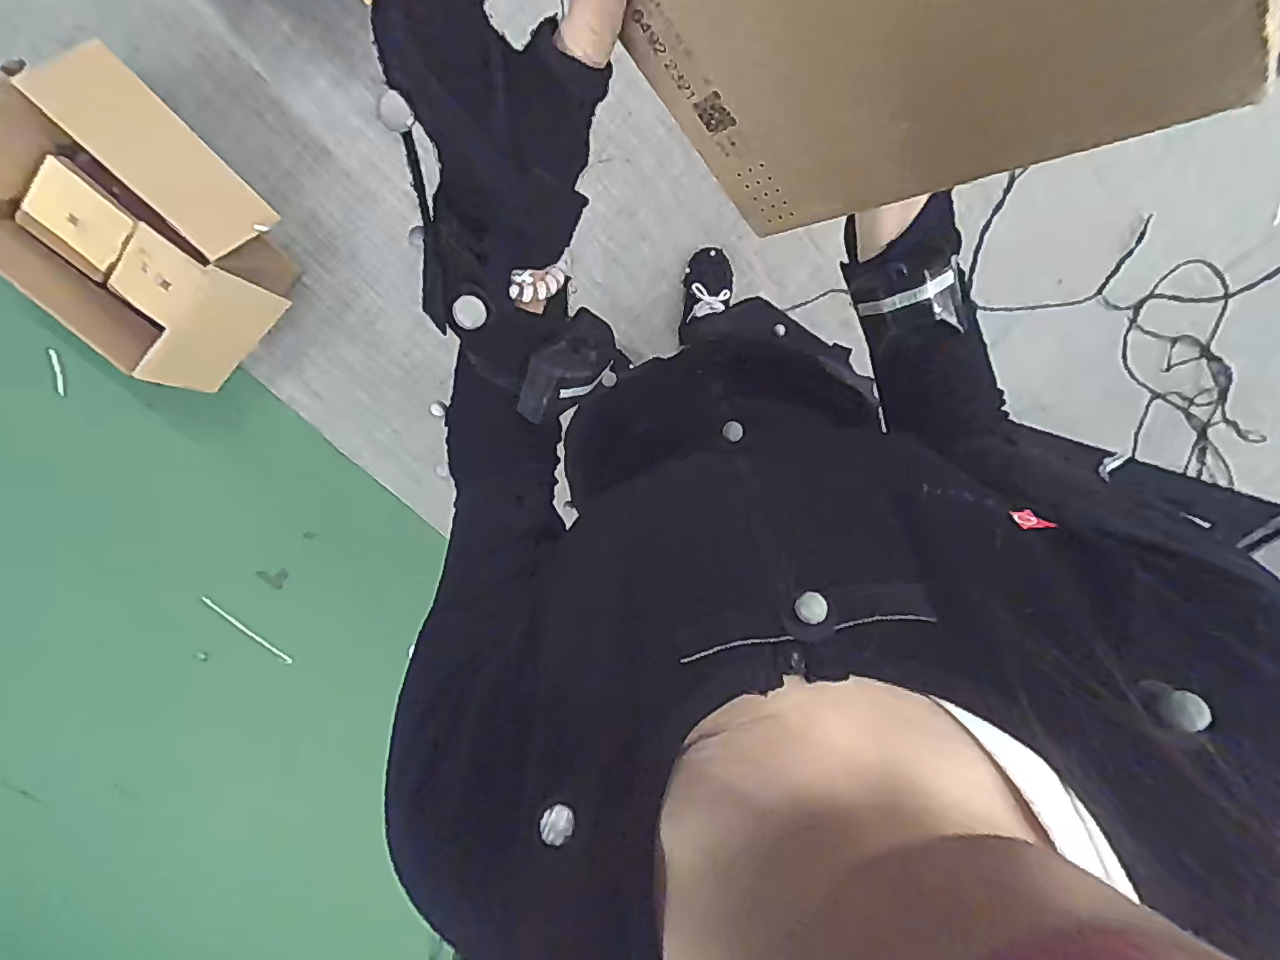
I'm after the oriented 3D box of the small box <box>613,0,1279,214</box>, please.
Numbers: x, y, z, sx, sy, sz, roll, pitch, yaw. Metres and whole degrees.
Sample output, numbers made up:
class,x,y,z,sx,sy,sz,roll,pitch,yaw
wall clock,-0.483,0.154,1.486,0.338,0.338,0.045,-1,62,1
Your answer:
class,x,y,z,sx,sy,sz,roll,pitch,yaw
small box,0.091,-0.222,0.171,0.168,0.176,0.179,36,76,-34
